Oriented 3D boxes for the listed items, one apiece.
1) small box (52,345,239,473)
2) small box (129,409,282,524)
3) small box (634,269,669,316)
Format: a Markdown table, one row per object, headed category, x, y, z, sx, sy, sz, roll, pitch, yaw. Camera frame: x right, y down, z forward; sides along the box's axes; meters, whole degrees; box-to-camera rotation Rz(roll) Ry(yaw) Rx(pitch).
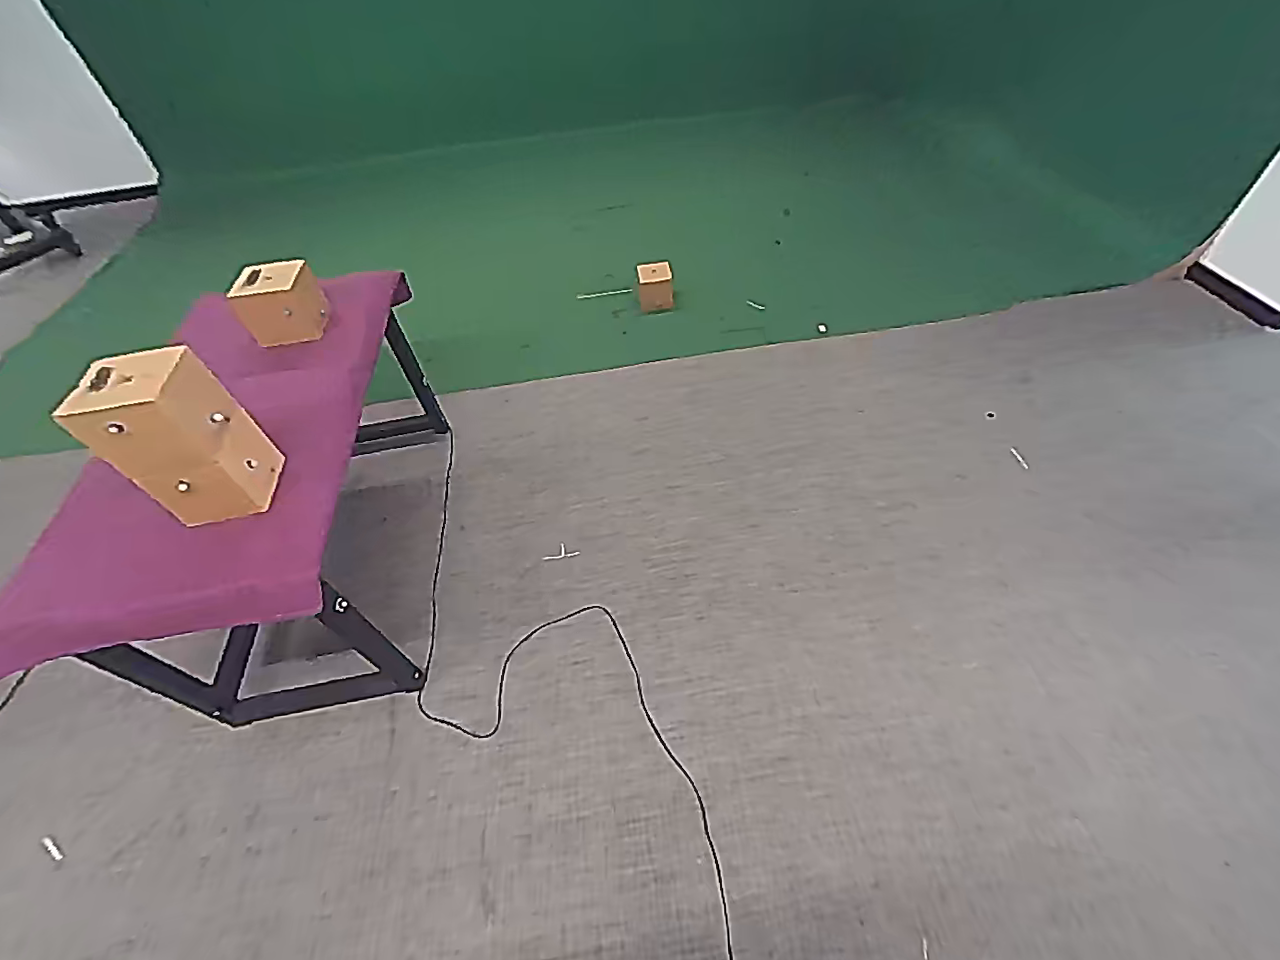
| category | x | y | z | sx | sy | sz | roll | pitch | yaw |
| --- | --- | --- | --- | --- | --- | --- | --- | --- | --- |
| small box | -0.933 | -0.132 | 1.043 | 0.179 | 0.176 | 0.168 | -10 | 50 | -4 |
| small box | -0.920 | -0.027 | 1.168 | 0.179 | 0.176 | 0.168 | -11 | 50 | -3 |
| small box | 0.061 | -0.985 | 2.845 | 0.168 | 0.176 | 0.179 | -7 | 50 | -1 |
